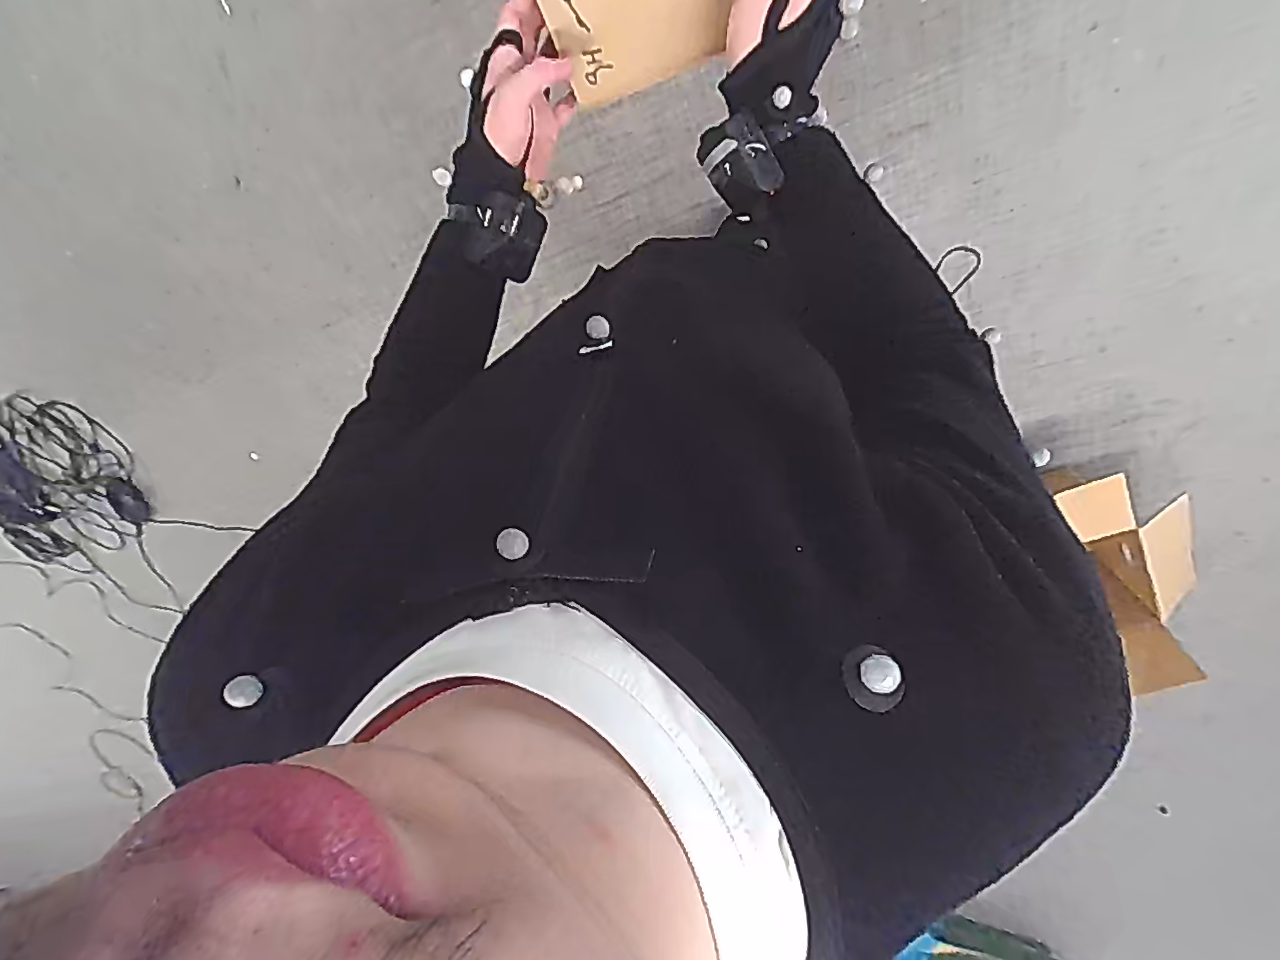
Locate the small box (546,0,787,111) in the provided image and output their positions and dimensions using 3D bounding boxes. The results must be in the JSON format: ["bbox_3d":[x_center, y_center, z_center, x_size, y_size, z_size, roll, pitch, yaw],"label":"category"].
[{"bbox_3d":[0.010,-0.448,0.431,0.179,0.176,0.168,-10,147,16],"label":"small box"}]
